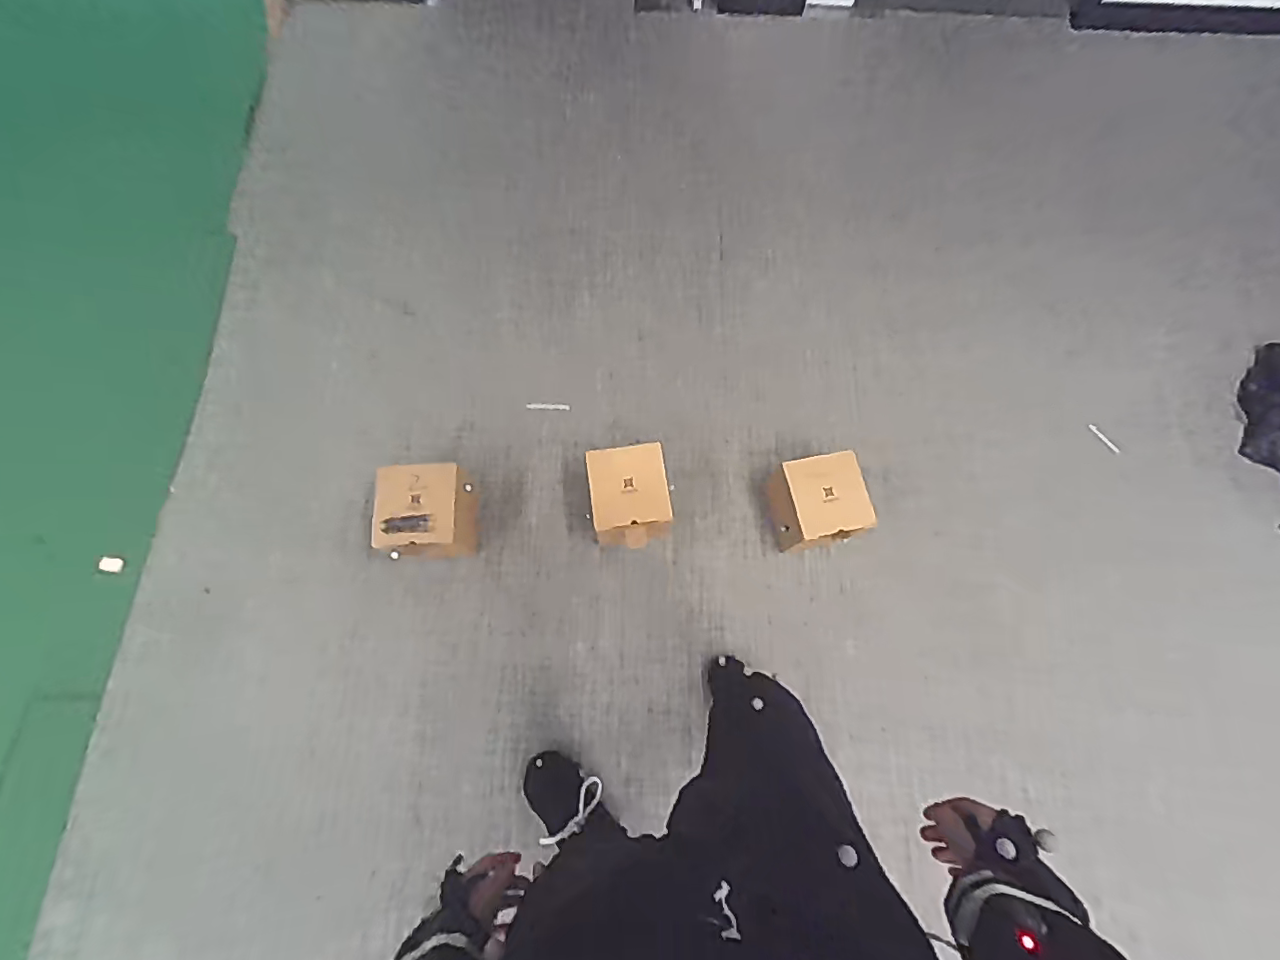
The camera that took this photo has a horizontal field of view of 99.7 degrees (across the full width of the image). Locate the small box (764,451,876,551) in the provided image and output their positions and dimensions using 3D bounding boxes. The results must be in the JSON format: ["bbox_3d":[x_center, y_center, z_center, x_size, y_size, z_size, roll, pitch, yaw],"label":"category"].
[{"bbox_3d":[0.395,0.056,1.217,0.168,0.176,0.179,-11,73,-6],"label":"small box"}]

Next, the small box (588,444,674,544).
[{"bbox_3d":[-0.025,0.036,1.210,0.168,0.176,0.179,-8,74,-4],"label":"small box"}]
